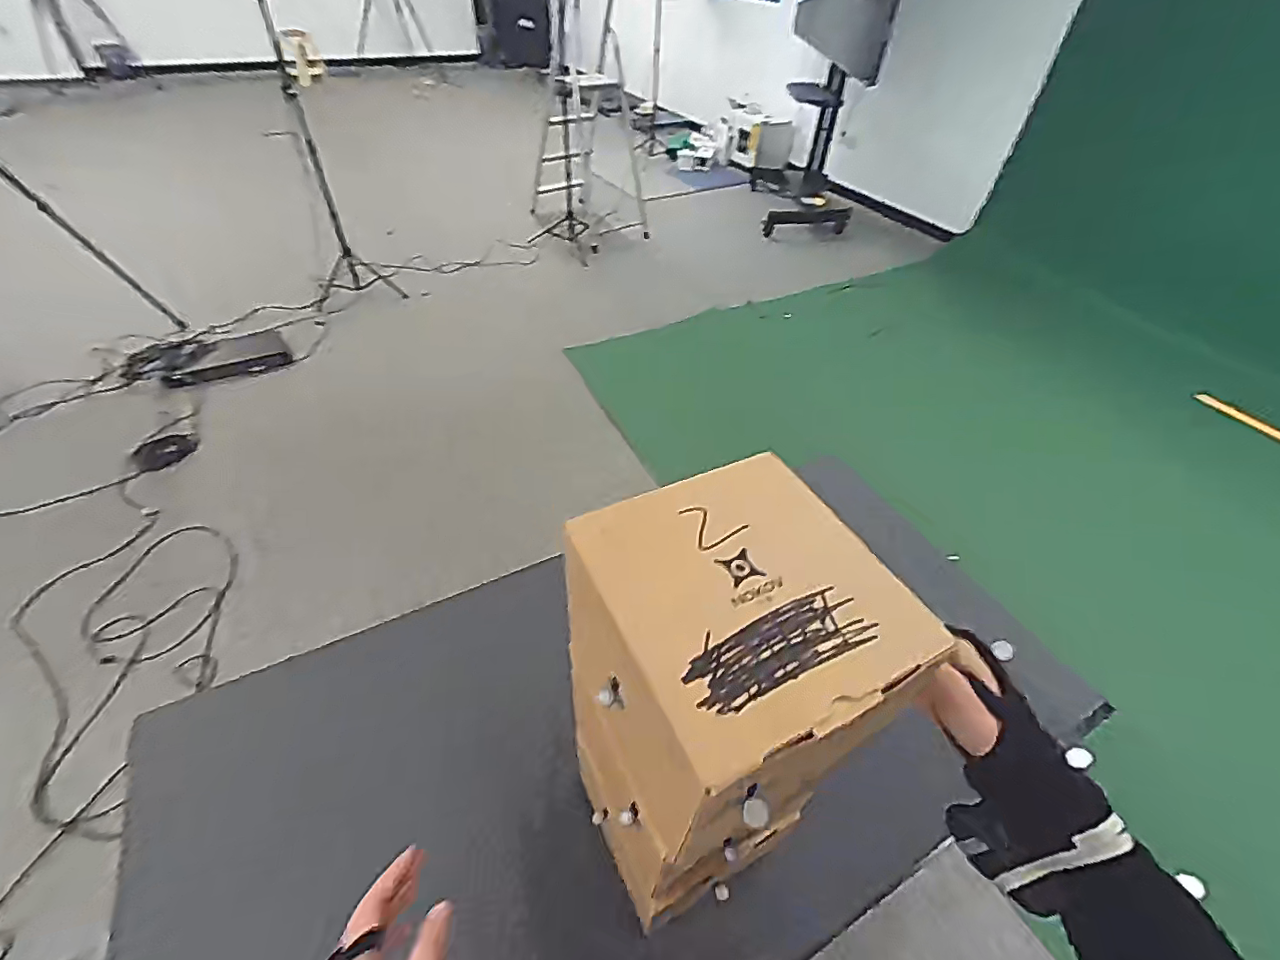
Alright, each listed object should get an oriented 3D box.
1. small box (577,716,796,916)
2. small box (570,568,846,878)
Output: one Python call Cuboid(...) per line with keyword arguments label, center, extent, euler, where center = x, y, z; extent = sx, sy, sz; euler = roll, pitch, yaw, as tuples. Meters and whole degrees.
Cuboid(label="small box", center=(0.038, 0.339, 0.603), extent=(0.168, 0.176, 0.179), euler=(-20, 50, -20))
Cuboid(label="small box", center=(0.044, 0.218, 0.494), extent=(0.168, 0.176, 0.179), euler=(-19, 50, -21))
